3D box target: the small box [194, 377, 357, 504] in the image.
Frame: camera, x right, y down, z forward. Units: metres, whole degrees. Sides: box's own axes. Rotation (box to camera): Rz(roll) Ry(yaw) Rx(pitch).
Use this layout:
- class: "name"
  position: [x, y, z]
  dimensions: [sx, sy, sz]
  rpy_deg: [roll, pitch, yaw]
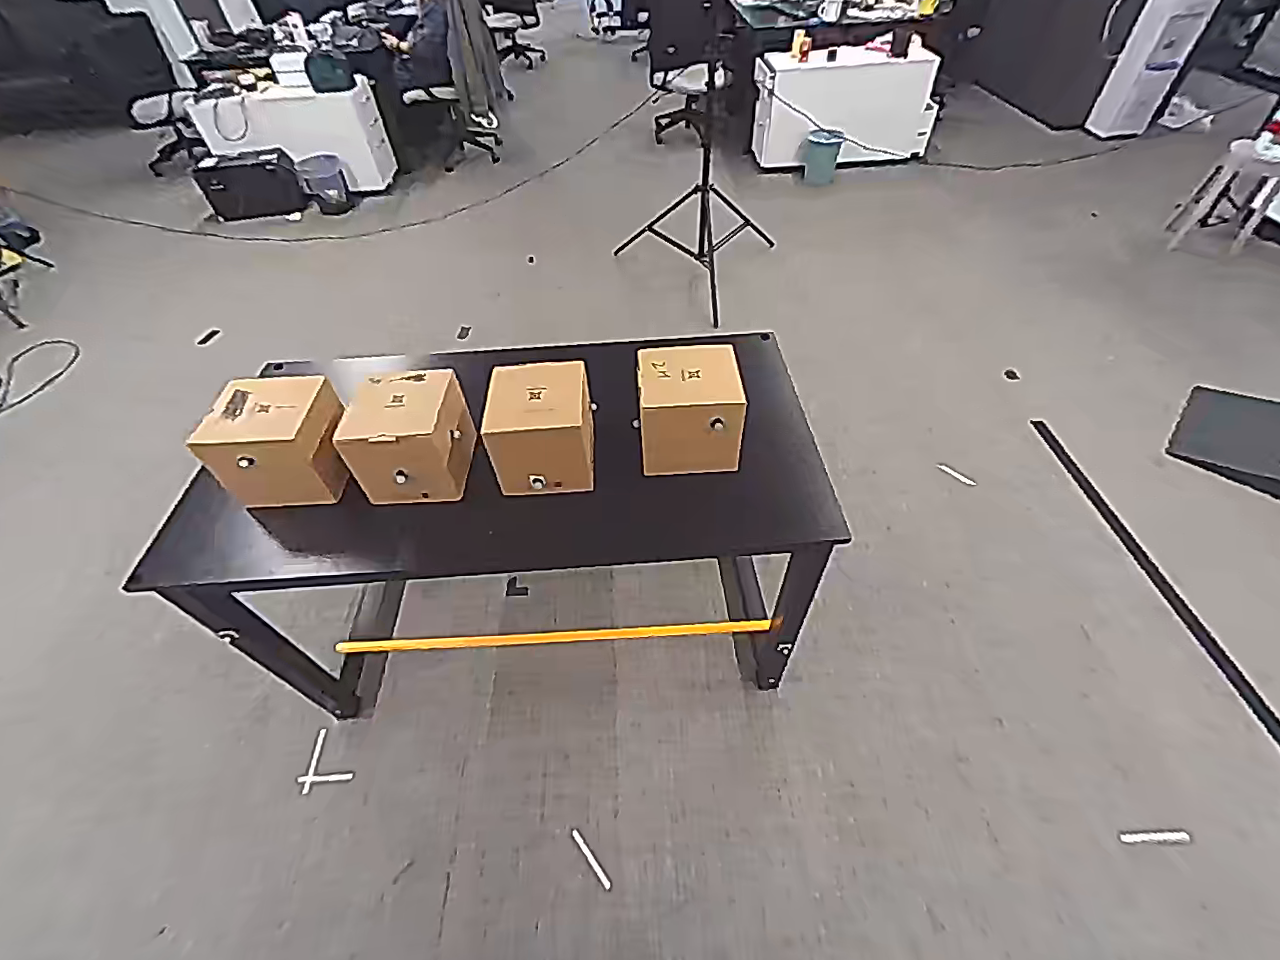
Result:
- class: "small box"
  position: [-0.639, -0.068, 0.989]
  dimensions: [0.179, 0.176, 0.168]
  rpy_deg: [-3, 49, -1]

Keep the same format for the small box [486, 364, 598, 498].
- class: "small box"
  position: [-0.169, -0.089, 0.989]
  dimensions: [0.168, 0.176, 0.179]
  rpy_deg: [-5, 50, 0]

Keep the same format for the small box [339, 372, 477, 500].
- class: "small box"
  position: [-0.407, -0.074, 0.985]
  dimensions: [0.168, 0.176, 0.179]
  rpy_deg: [-3, 49, -1]

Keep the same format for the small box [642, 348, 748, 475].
- class: "small box"
  position: [0.093, -0.124, 1.002]
  dimensions: [0.179, 0.176, 0.168]
  rpy_deg: [-3, 48, 1]
